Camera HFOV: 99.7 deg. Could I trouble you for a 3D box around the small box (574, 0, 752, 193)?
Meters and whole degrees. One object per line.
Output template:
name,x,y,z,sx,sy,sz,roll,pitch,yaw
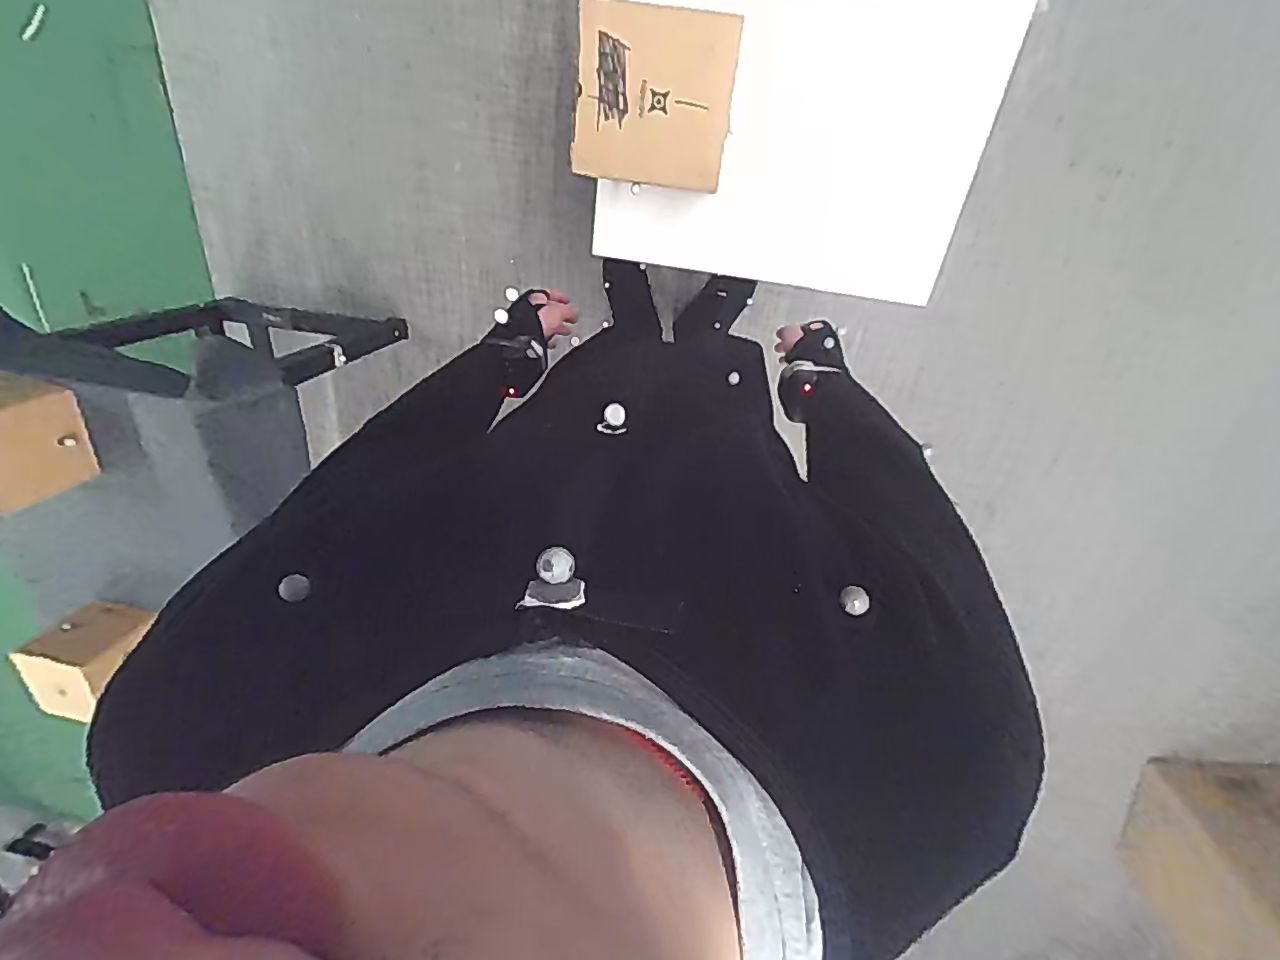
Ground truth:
small box,0.027,-0.454,0.660,0.179,0.176,0.168,10,119,1

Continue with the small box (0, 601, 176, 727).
small box,-1.150,0.382,1.145,0.168,0.176,0.179,10,120,5

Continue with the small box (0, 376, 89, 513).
small box,-1.090,-0.067,0.893,0.168,0.176,0.179,13,119,2
